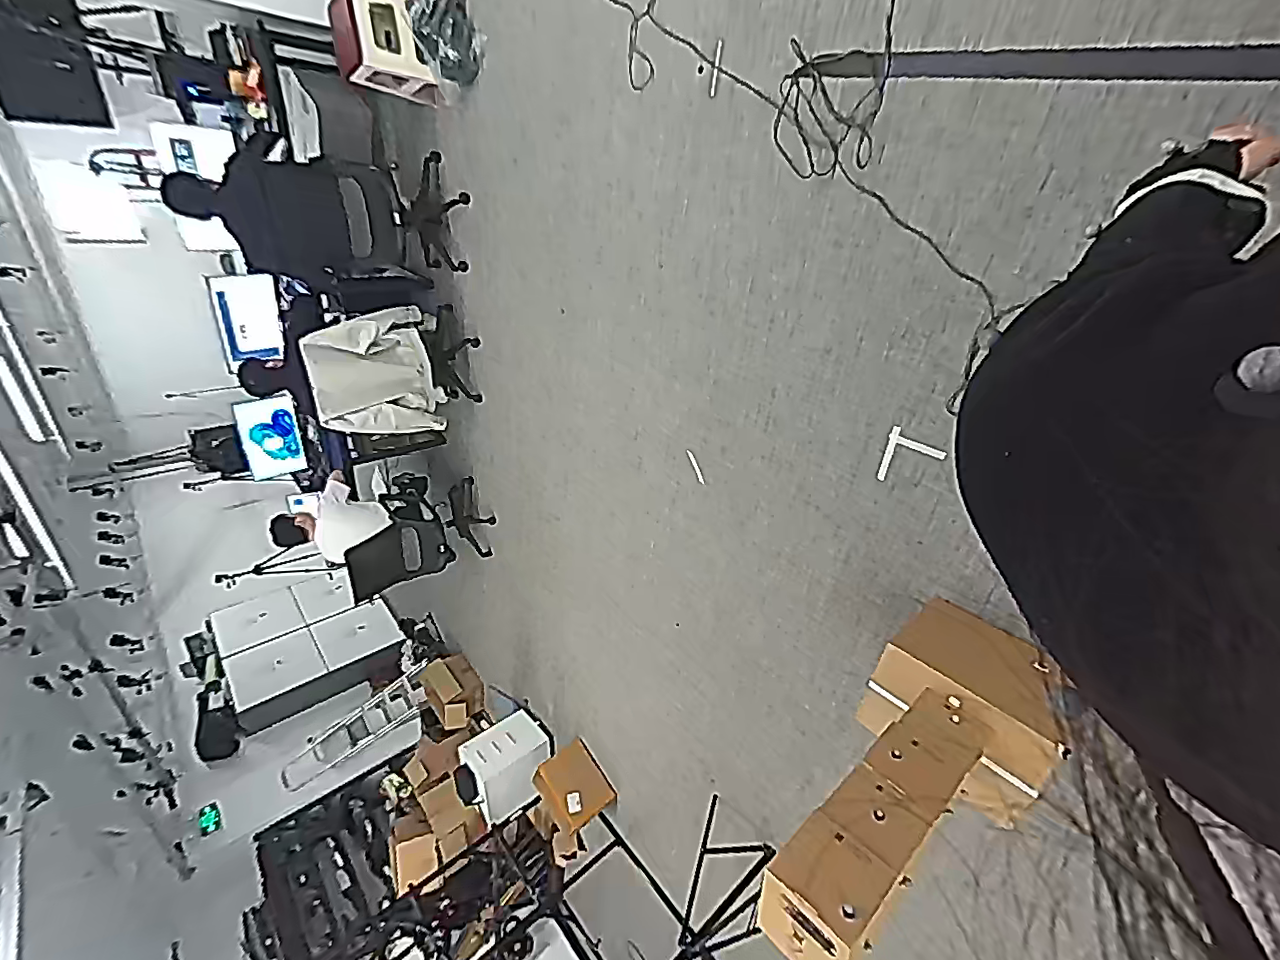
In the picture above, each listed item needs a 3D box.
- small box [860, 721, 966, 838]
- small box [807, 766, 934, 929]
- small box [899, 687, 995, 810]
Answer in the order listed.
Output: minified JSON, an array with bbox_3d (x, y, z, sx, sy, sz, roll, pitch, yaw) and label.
[{"bbox_3d":[0.584,0.675,1.188,0.168,0.176,0.179,30,128,41],"label":"small box"},{"bbox_3d":[0.464,0.724,1.087,0.168,0.176,0.179,26,124,44],"label":"small box"},{"bbox_3d":[0.708,0.638,1.286,0.168,0.176,0.179,31,127,39],"label":"small box"}]
